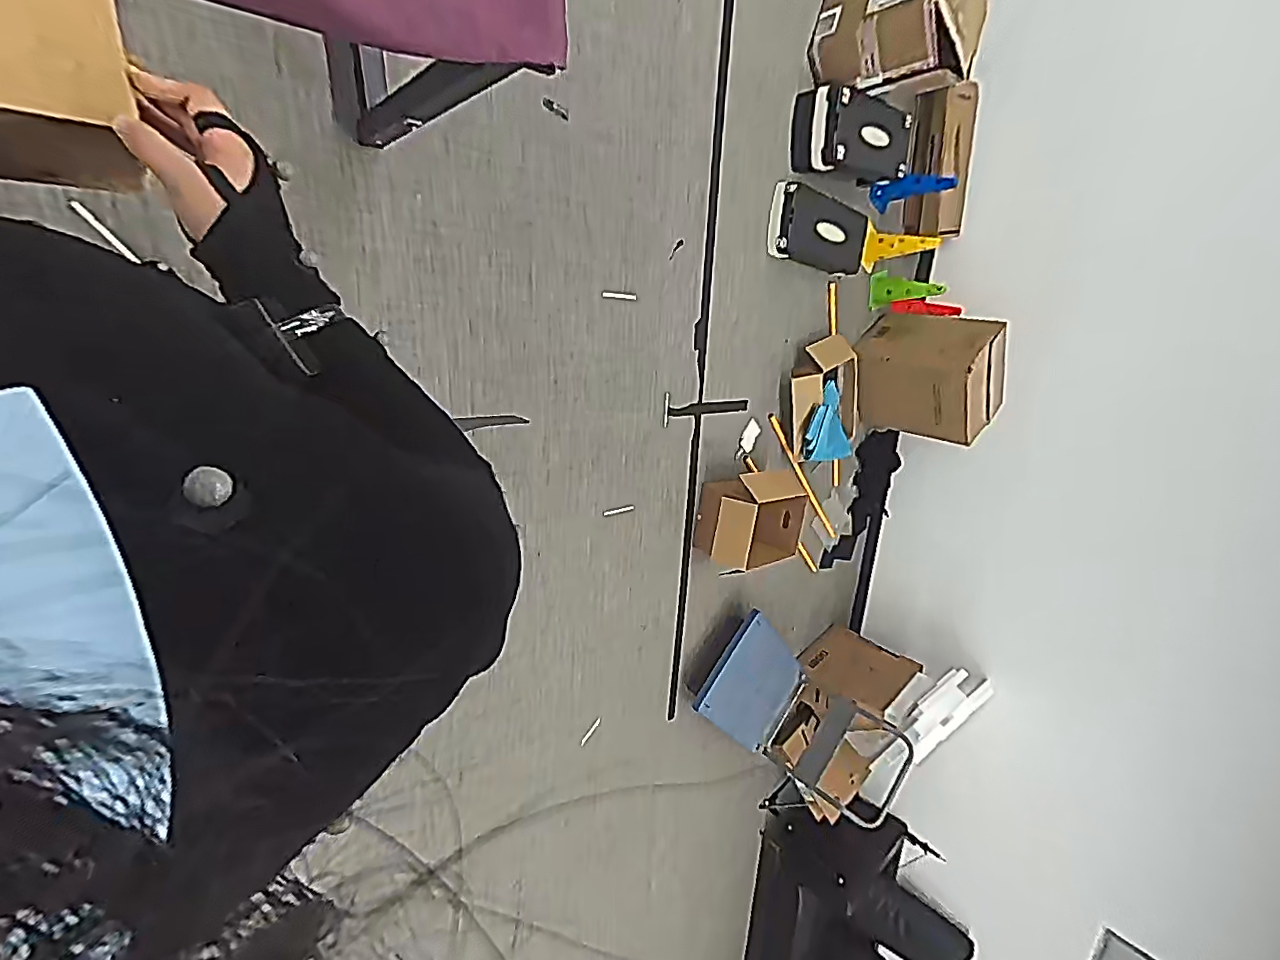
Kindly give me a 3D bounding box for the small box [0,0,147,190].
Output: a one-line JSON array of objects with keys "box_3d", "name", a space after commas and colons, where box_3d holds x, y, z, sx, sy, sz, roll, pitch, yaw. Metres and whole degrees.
[{"box_3d": [-0.452, -0.315, 0.357, 0.168, 0.176, 0.179, -13, 105, -40], "name": "small box"}]
